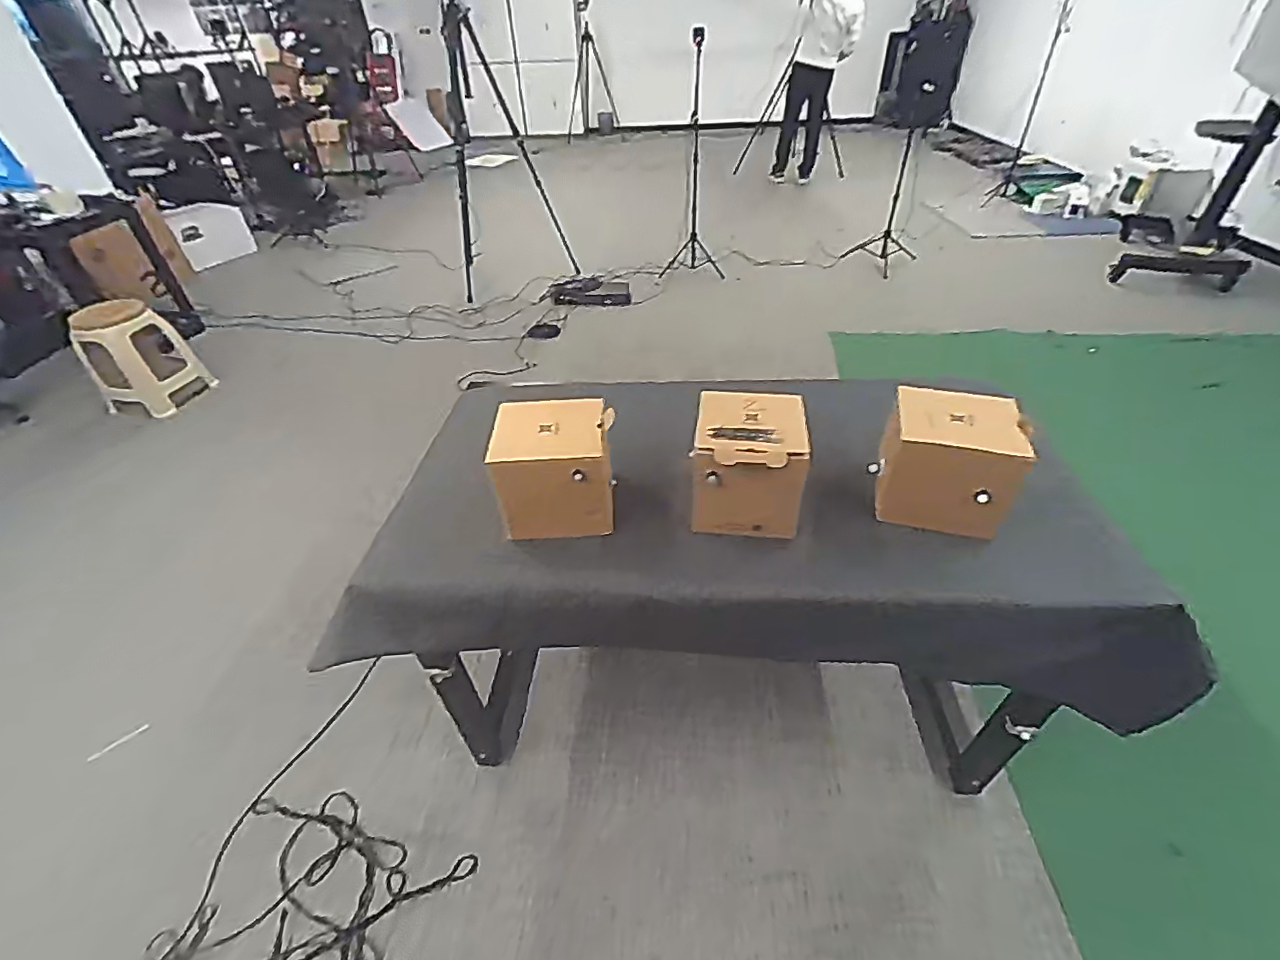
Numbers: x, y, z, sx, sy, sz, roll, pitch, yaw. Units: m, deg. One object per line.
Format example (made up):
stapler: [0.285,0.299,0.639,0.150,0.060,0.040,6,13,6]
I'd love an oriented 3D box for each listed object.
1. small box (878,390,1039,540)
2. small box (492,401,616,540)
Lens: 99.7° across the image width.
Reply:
small box: [0.501,-0.024,0.878,0.179,0.176,0.168,9,40,16]
small box: [-0.132,-0.014,0.904,0.179,0.176,0.168,-3,40,-1]
